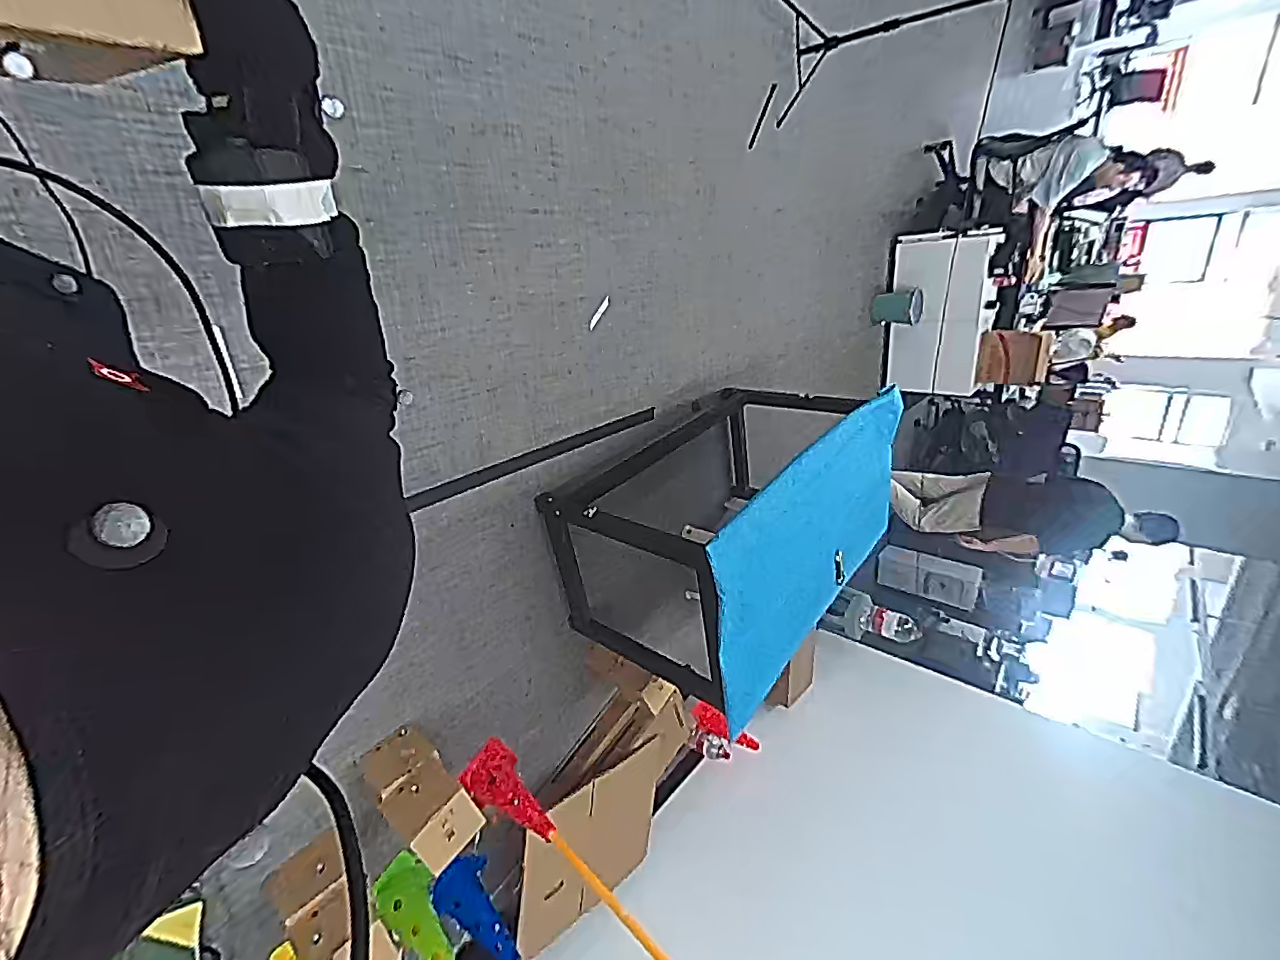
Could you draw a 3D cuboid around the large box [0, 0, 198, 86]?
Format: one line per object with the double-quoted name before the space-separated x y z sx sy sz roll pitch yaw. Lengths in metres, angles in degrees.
"large box" -0.474 -0.343 0.177 0.408 0.320 0.320 -26 130 -42
